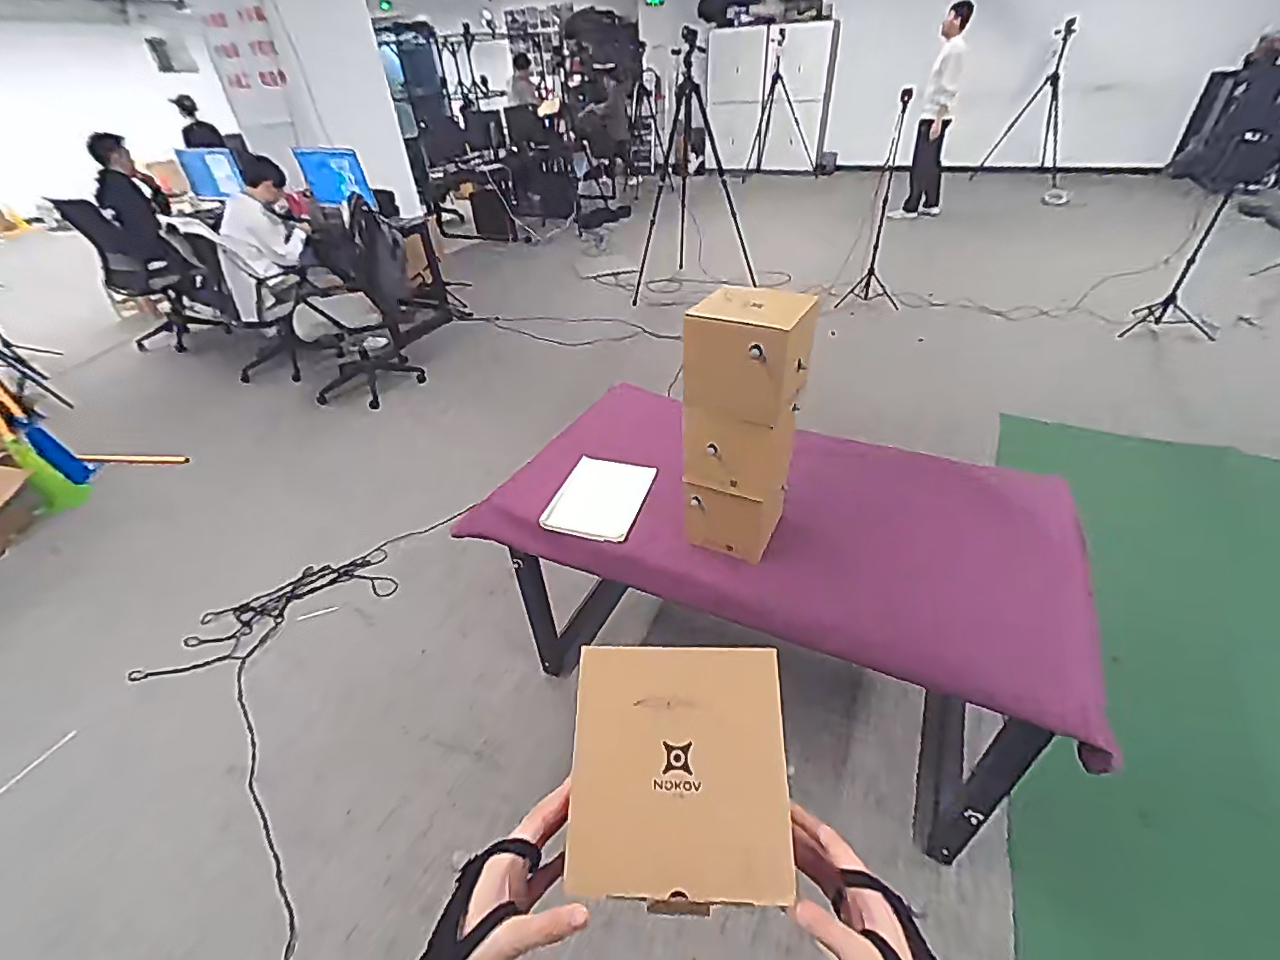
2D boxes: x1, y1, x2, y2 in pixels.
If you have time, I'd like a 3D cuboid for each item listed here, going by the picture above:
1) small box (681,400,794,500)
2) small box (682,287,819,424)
[{"bbox_3d":[0.188,-0.085,1.027,0.168,0.176,0.179,16,40,24],"label":"small box"},{"bbox_3d":[0.185,-0.212,0.921,0.179,0.176,0.168,17,40,25],"label":"small box"}]
